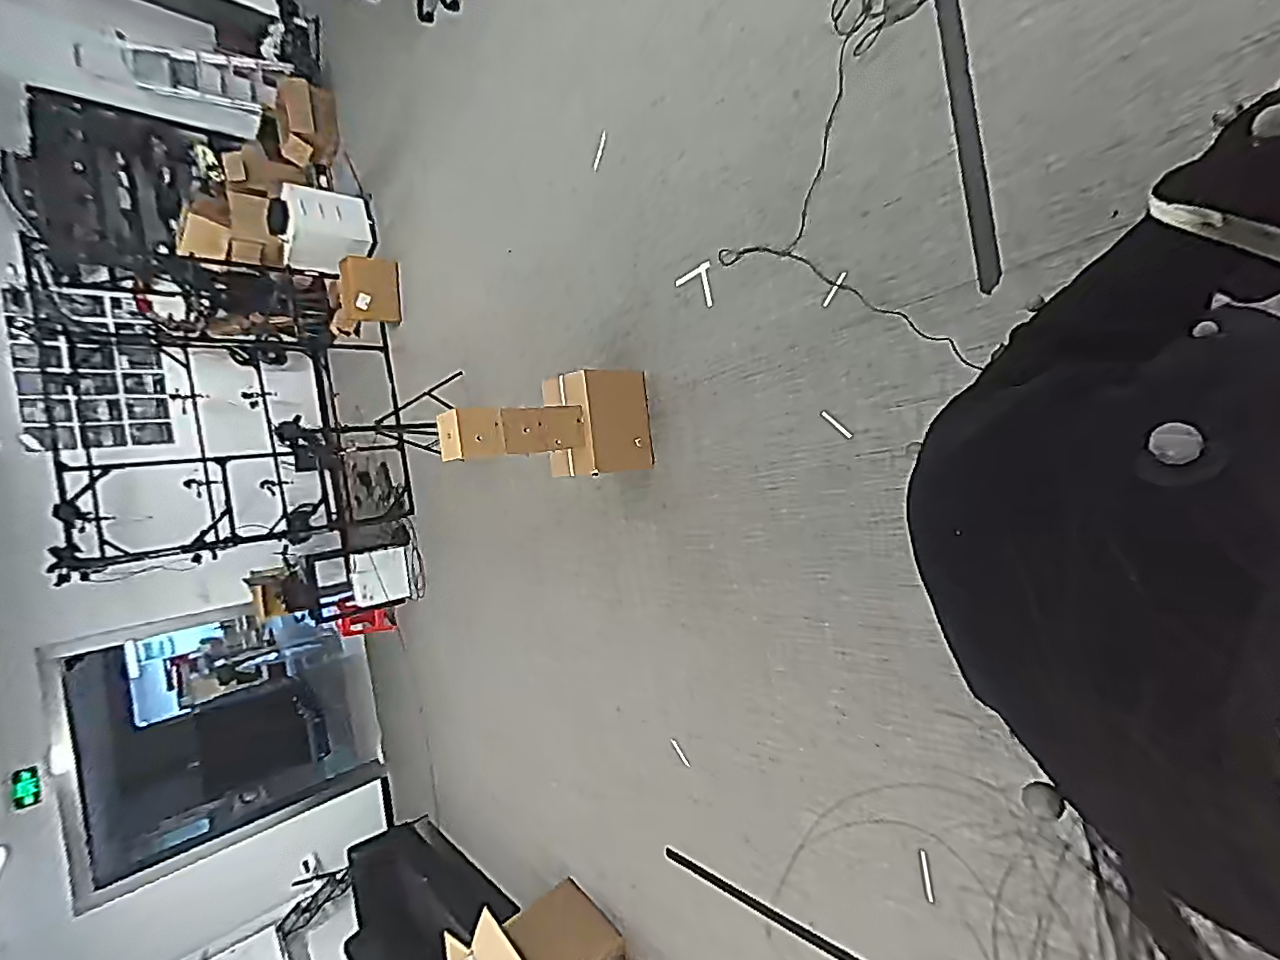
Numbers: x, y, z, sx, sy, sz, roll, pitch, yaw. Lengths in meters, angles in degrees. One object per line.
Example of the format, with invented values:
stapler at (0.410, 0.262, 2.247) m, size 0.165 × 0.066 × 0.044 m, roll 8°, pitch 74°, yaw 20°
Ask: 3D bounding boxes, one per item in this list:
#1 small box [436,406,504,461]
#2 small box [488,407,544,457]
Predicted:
small box at (-0.583, -0.160, 1.870) m, size 0.179 × 0.176 × 0.168 m, roll -6°, pitch 93°, yaw 50°
small box at (-0.462, -0.176, 1.979) m, size 0.179 × 0.176 × 0.168 m, roll -3°, pitch 94°, yaw 48°
